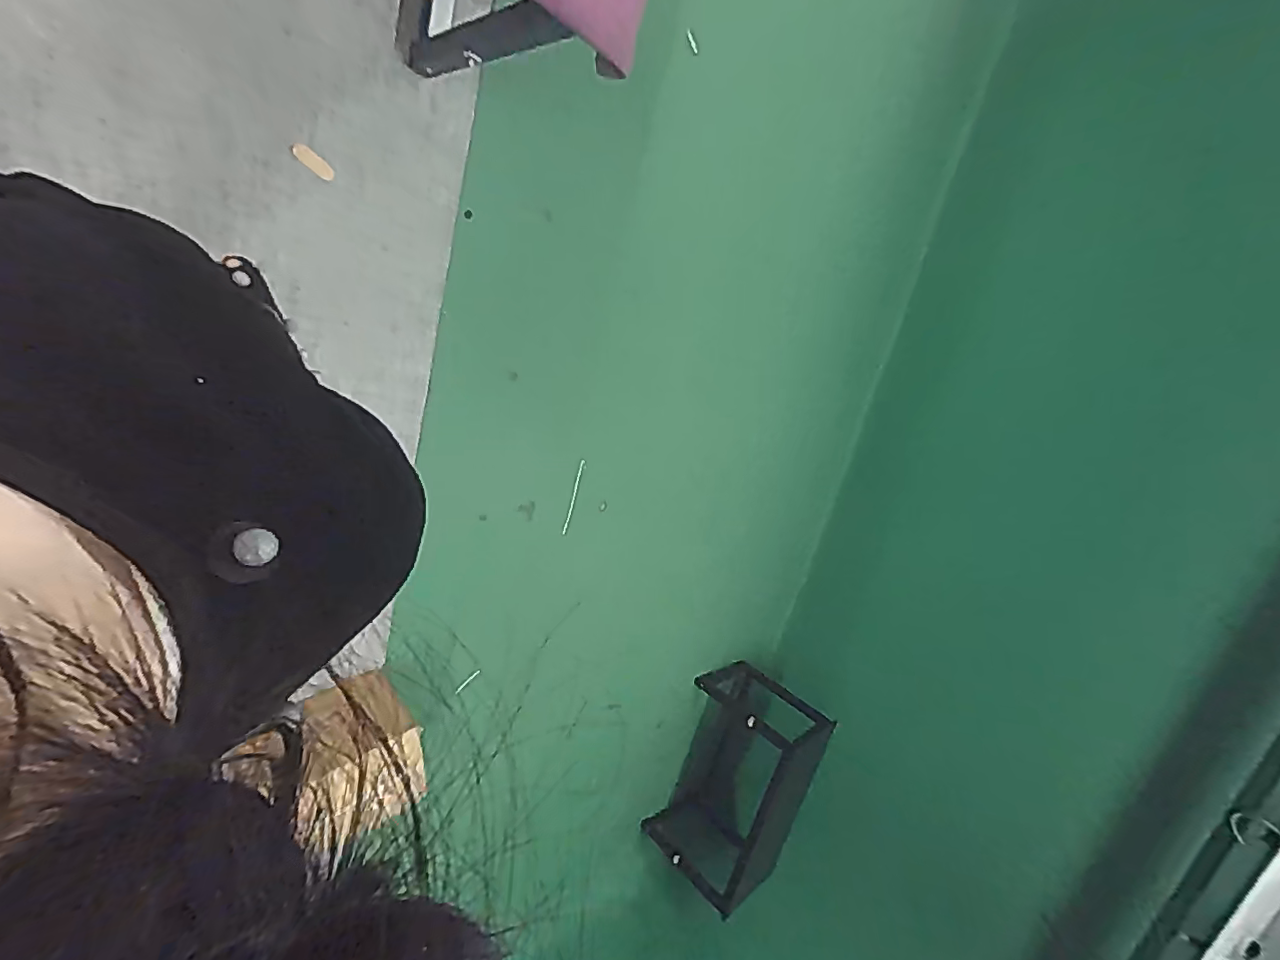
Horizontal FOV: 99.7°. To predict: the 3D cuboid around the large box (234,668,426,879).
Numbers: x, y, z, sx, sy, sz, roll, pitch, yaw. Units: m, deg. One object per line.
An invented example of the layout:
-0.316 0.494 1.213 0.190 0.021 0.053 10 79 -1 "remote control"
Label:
-0.919 0.852 1.628 0.408 0.320 0.320 -18 124 -42 "large box"
